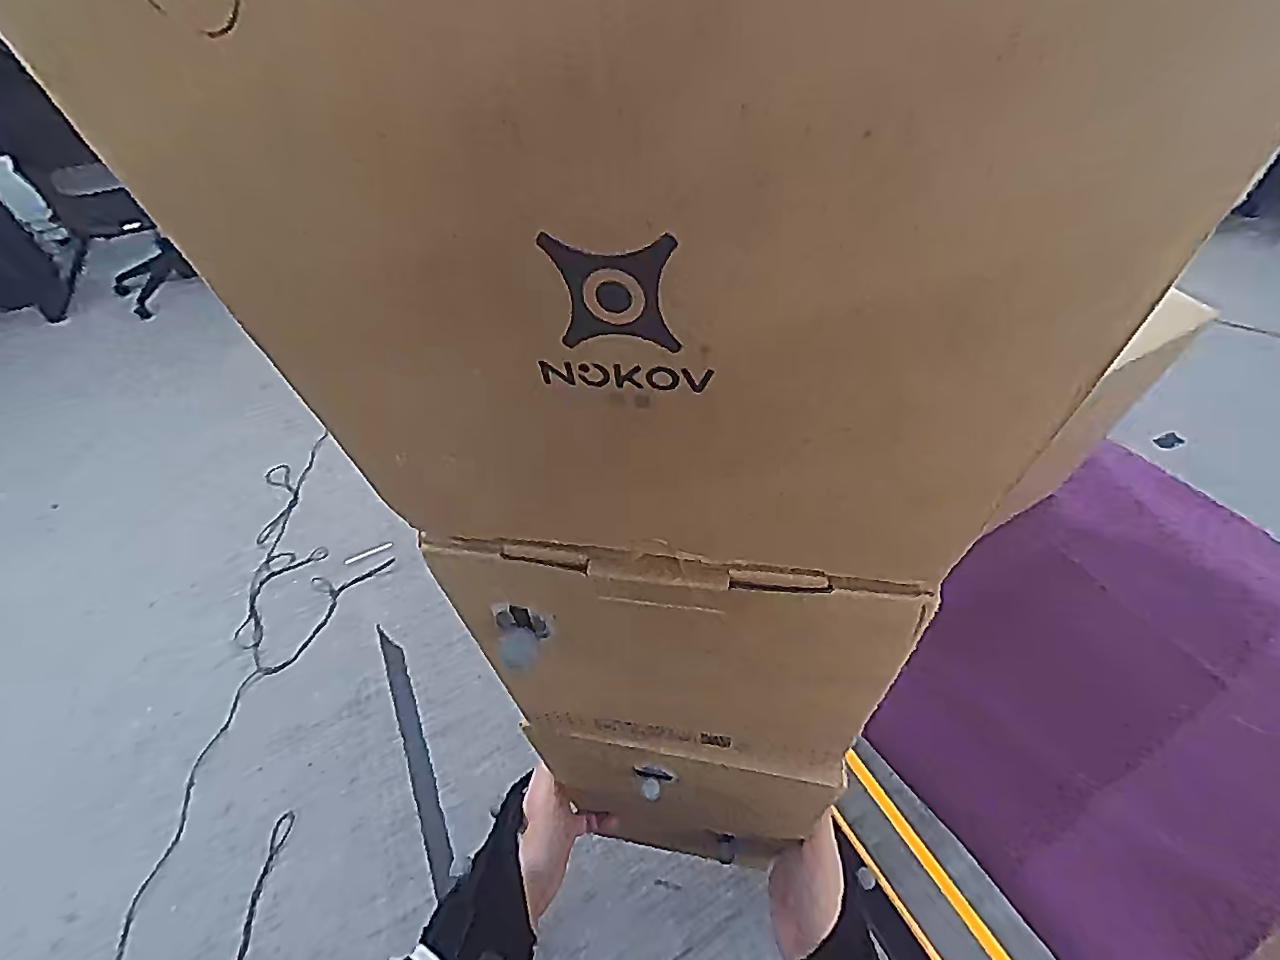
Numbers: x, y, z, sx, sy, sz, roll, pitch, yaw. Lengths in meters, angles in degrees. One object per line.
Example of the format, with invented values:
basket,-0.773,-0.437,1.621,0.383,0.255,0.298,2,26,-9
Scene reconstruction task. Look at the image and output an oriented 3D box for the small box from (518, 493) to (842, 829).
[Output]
small box,0.036,0.131,0.392,0.179,0.176,0.168,6,49,10
